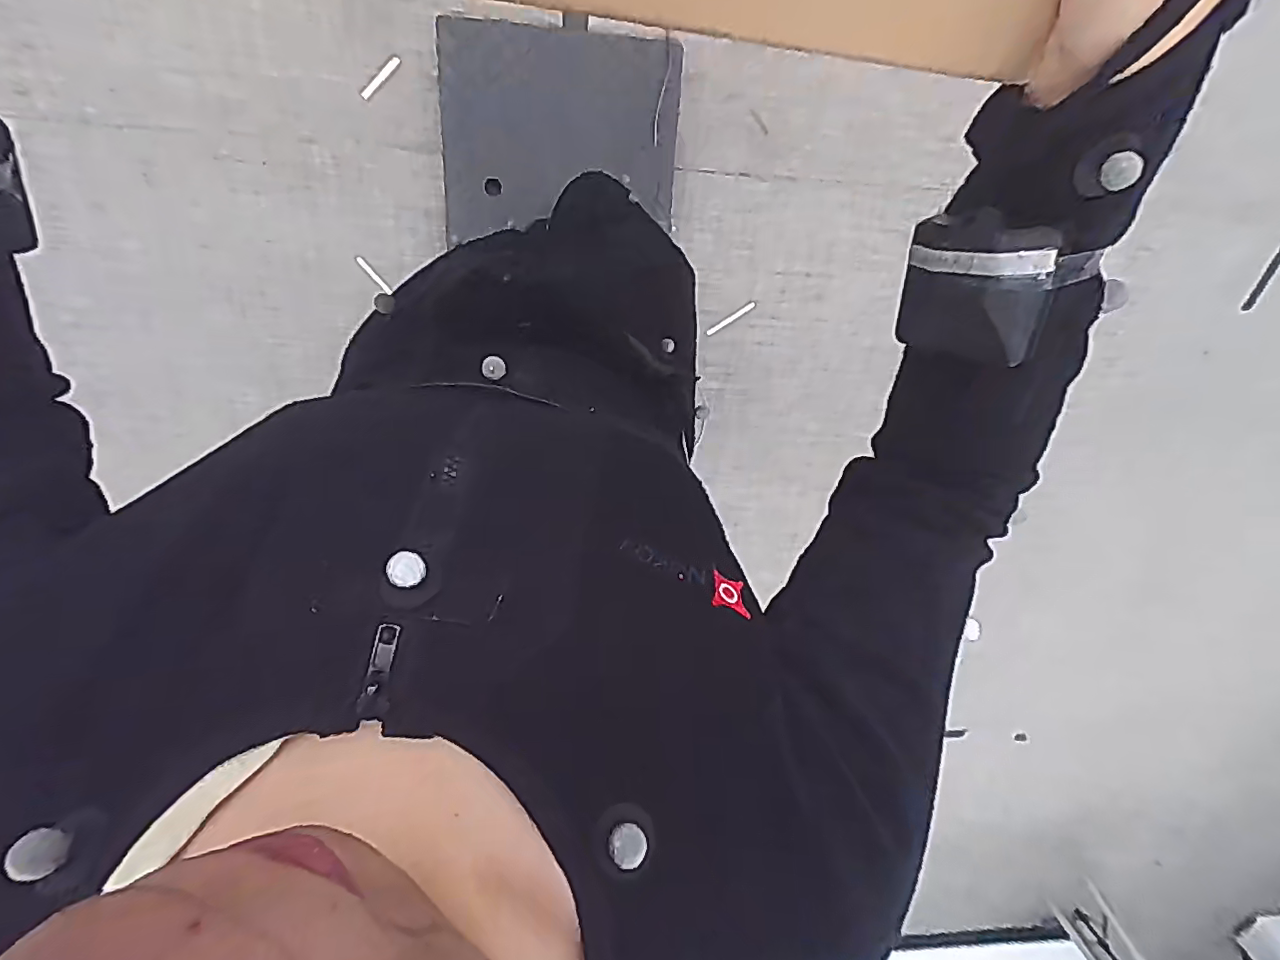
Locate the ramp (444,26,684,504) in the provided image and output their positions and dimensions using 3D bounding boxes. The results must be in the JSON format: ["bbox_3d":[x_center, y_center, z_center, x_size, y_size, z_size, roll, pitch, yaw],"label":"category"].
[{"bbox_3d":[-0.181,-0.417,1.242,0.509,0.206,0.991,1,118,-4],"label":"ramp"}]
